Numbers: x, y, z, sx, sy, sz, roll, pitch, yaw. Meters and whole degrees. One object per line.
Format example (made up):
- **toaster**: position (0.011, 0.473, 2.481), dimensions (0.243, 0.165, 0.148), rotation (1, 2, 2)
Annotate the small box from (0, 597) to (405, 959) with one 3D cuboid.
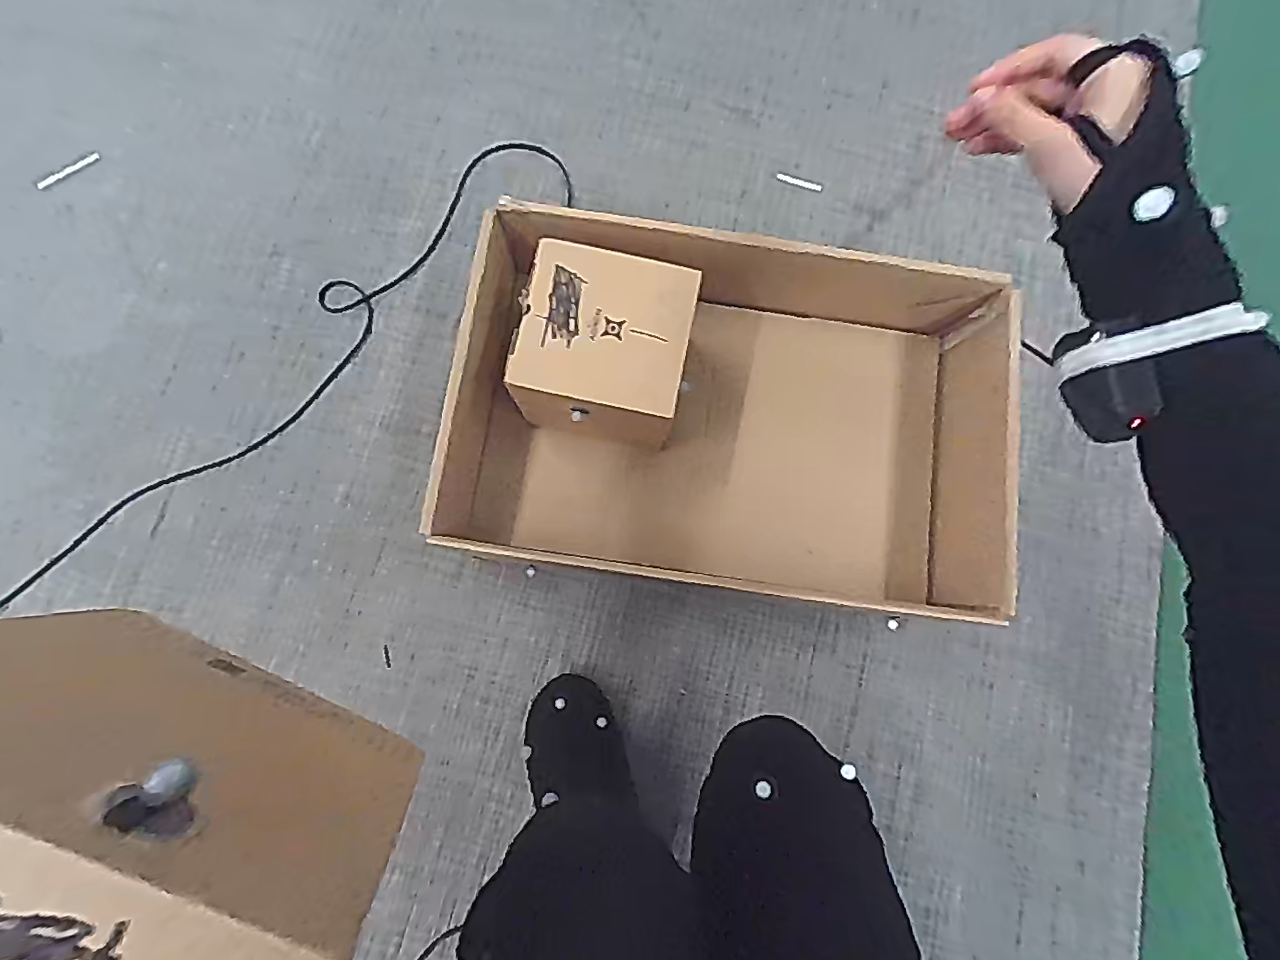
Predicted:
- **small box**: position (-0.199, 0.153, 0.171), dimensions (0.168, 0.176, 0.179), rotation (32, 74, -8)
